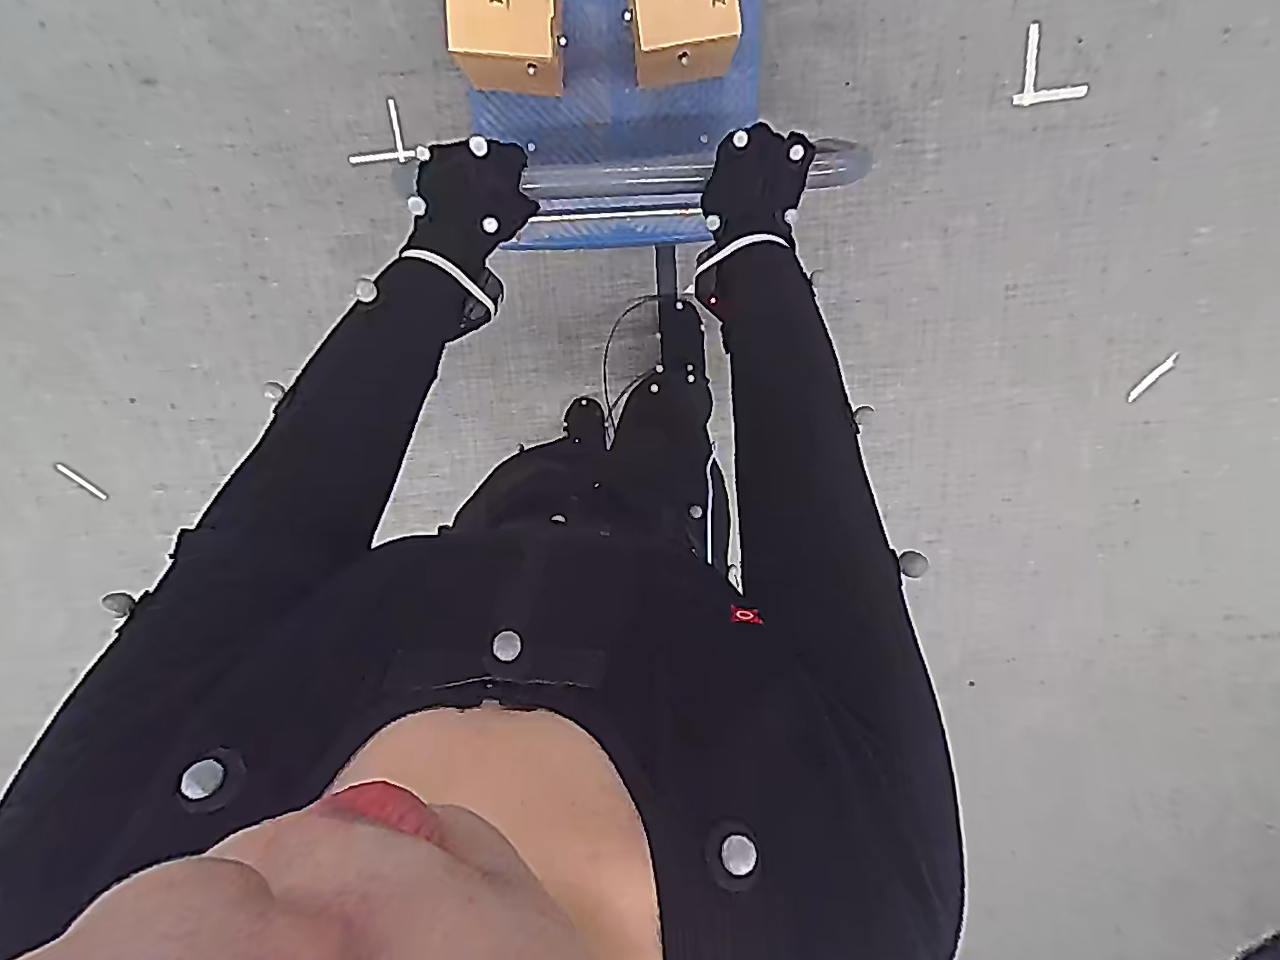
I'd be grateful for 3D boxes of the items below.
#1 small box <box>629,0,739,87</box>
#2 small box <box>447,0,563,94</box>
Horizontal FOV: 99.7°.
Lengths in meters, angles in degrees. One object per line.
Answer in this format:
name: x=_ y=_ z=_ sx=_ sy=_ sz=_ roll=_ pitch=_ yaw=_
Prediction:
small box: x=0.072 y=-0.839 z=0.971 sx=0.179 sy=0.176 sz=0.168 roll=-8 pitch=108 yaw=1
small box: x=-0.235 y=-0.818 z=0.967 sx=0.179 sy=0.176 sz=0.168 roll=1 pitch=108 yaw=-4
